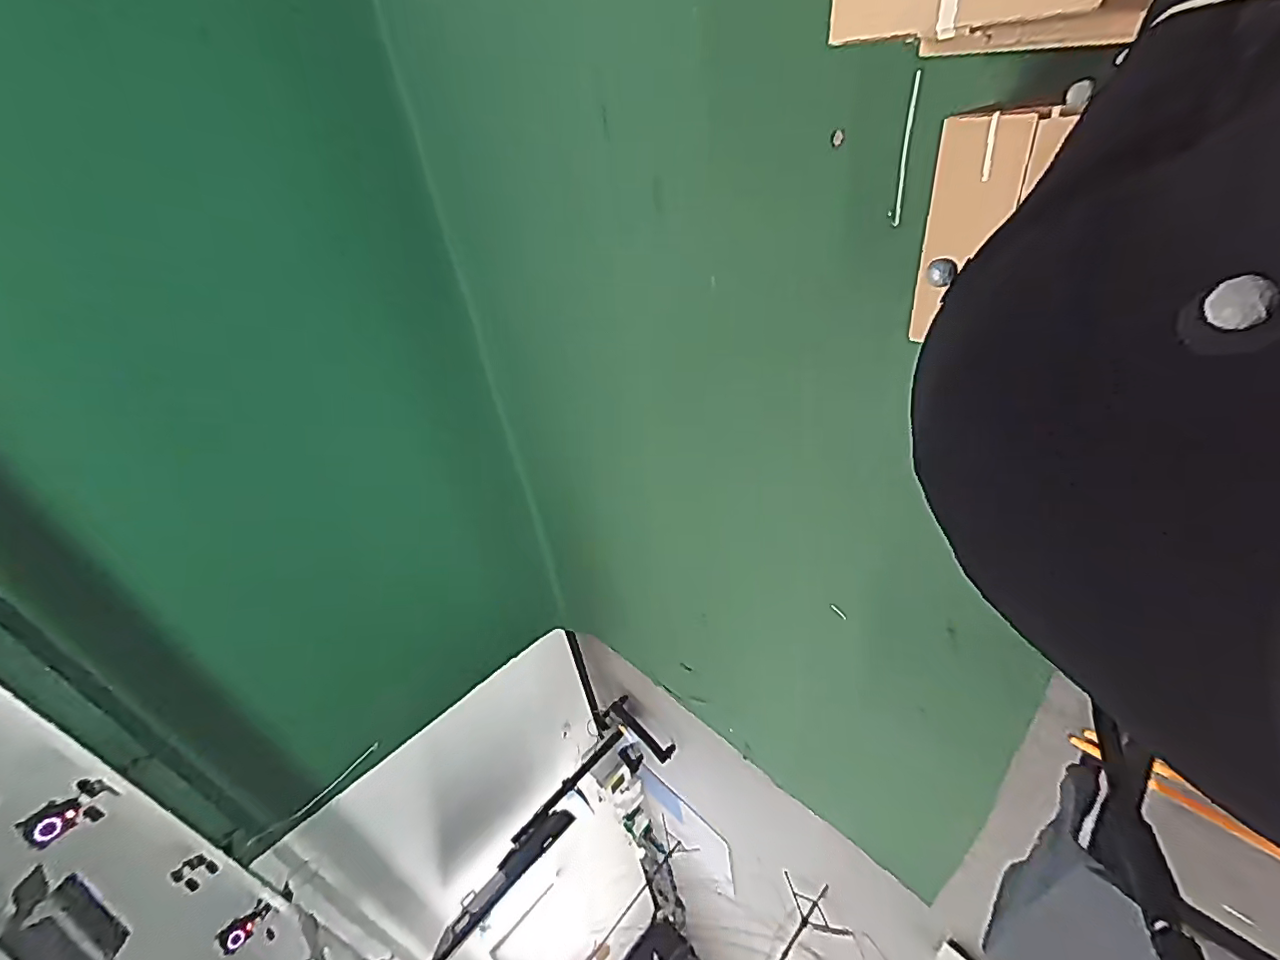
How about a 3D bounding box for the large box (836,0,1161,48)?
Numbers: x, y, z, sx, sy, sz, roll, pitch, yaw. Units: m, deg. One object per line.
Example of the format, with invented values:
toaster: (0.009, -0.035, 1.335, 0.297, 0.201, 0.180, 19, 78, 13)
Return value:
large box: (0.466, -0.776, 0.625, 0.320, 0.320, 0.408, 27, 136, 37)
